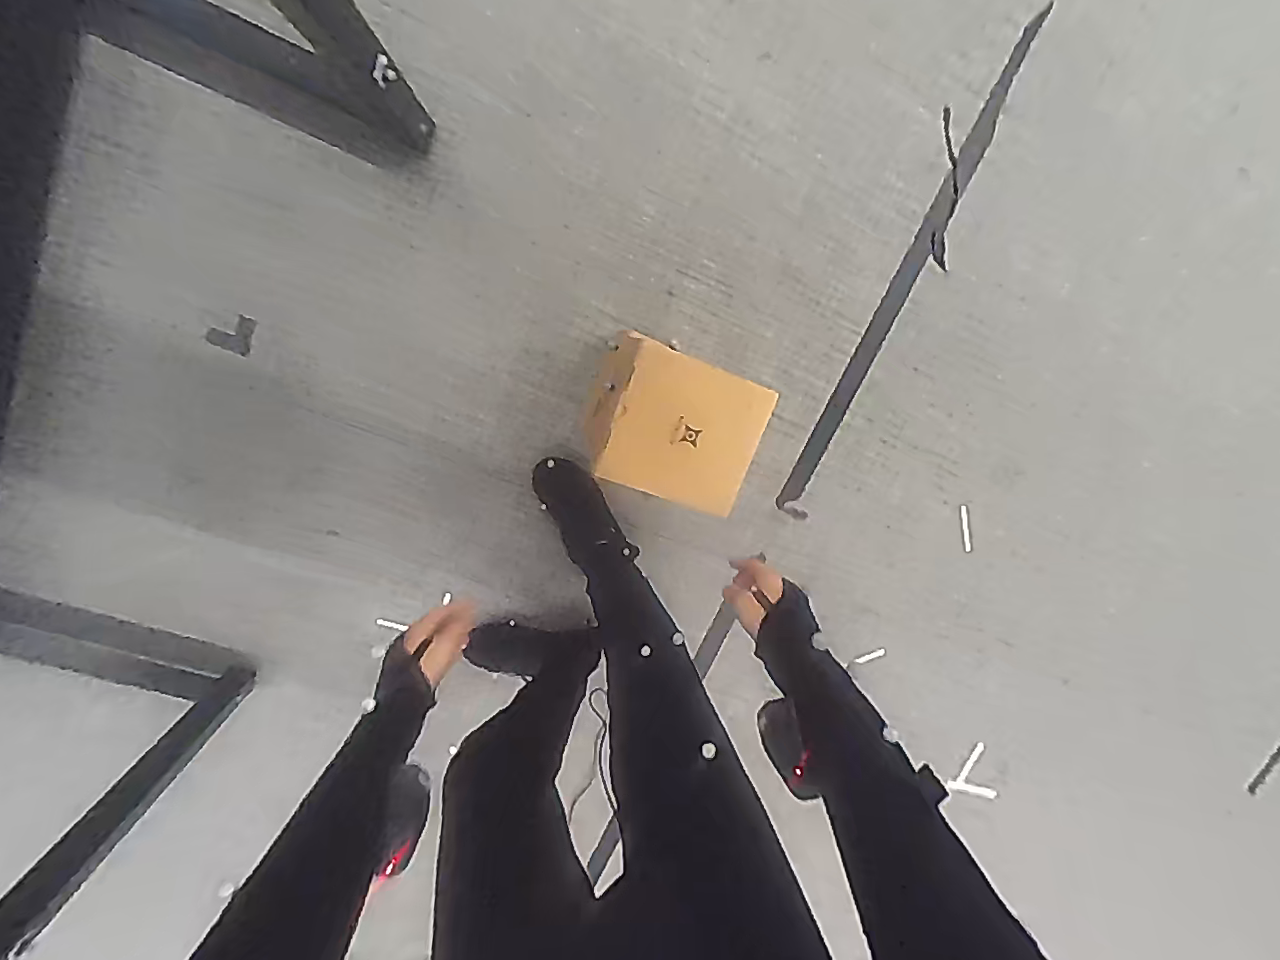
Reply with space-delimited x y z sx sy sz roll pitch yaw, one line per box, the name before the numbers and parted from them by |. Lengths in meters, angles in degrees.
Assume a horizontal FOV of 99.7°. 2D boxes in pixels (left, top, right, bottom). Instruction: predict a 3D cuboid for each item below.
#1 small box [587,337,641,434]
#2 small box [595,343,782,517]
small box | 0.003 -0.158 1.018 0.168 0.176 0.179 20 102 -12
small box | 0.050 -0.075 0.705 0.179 0.176 0.168 18 102 -12
